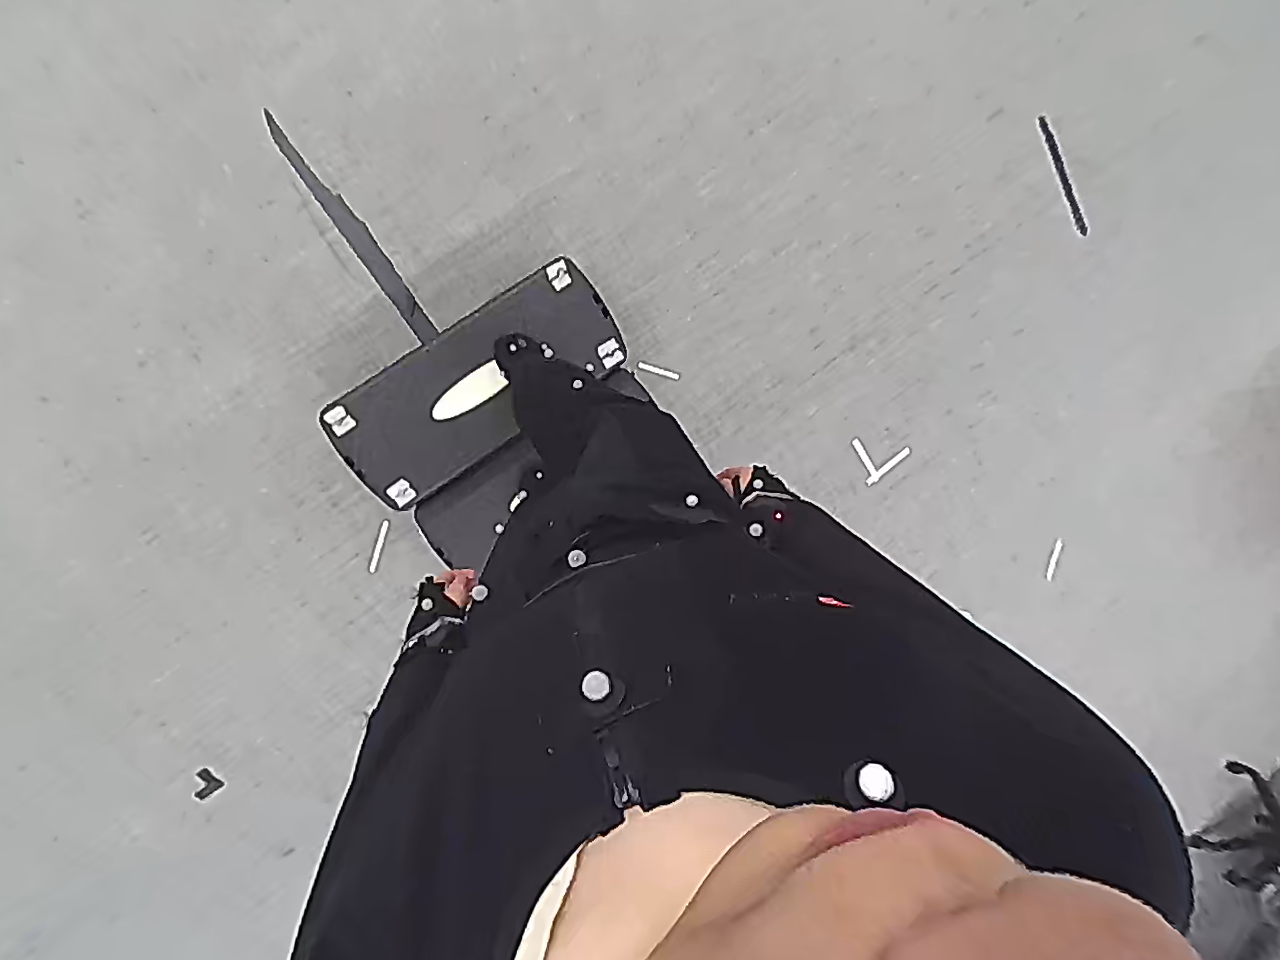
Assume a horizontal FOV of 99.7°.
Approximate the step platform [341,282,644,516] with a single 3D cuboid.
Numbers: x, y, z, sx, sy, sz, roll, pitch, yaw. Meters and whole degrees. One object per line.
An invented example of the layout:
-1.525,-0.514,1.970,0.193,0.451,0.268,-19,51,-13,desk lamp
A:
-0.332,-0.197,1.293,0.684,0.204,0.286,-31,104,-8,step platform
